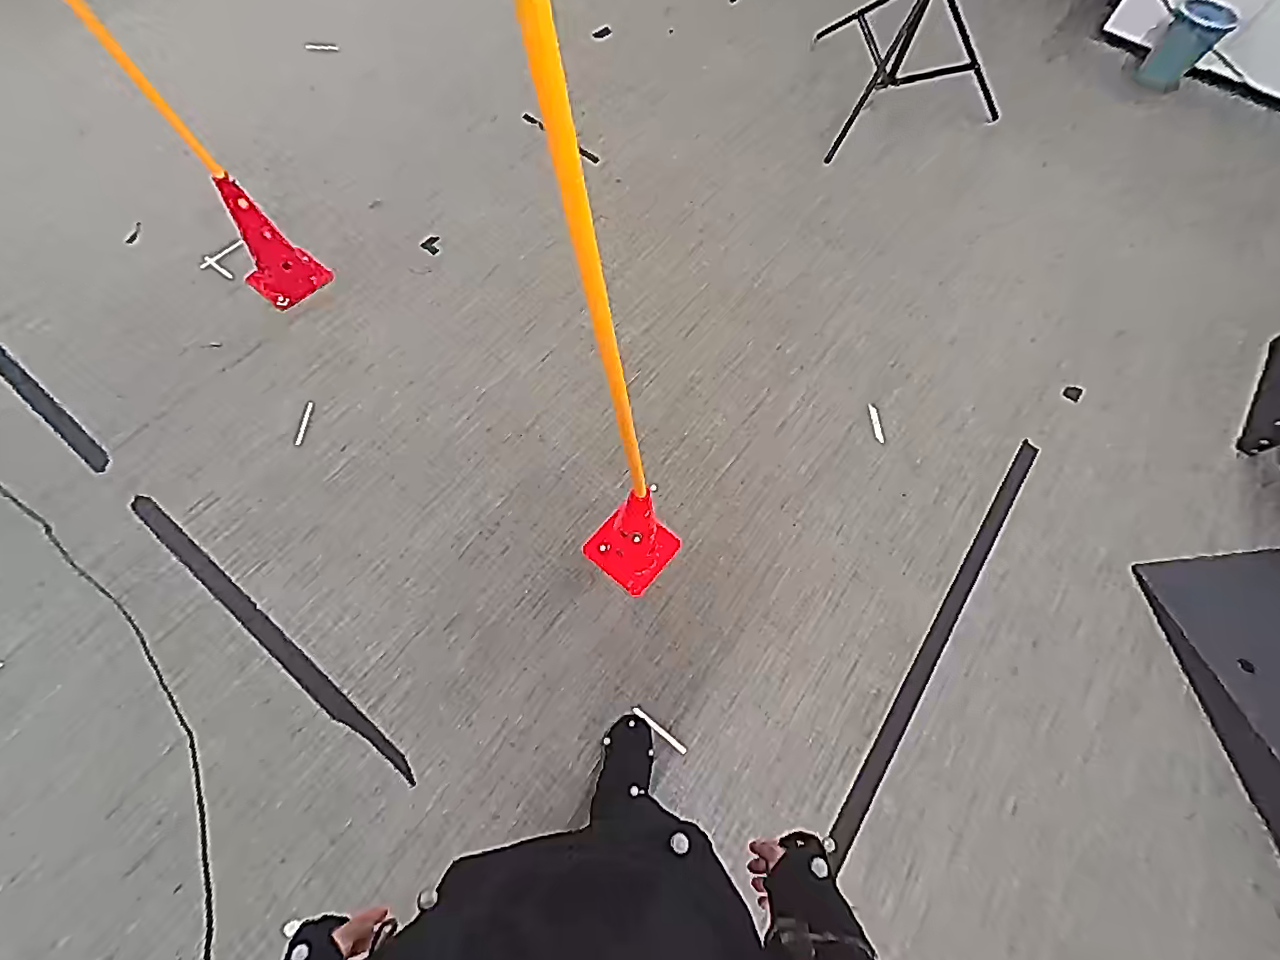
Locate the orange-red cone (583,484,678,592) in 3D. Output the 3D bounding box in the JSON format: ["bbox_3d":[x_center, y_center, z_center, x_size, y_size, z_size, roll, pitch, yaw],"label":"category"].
[{"bbox_3d":[-0.013,0.096,1.258,0.199,0.360,0.198,39,69,13],"label":"orange-red cone"}]
